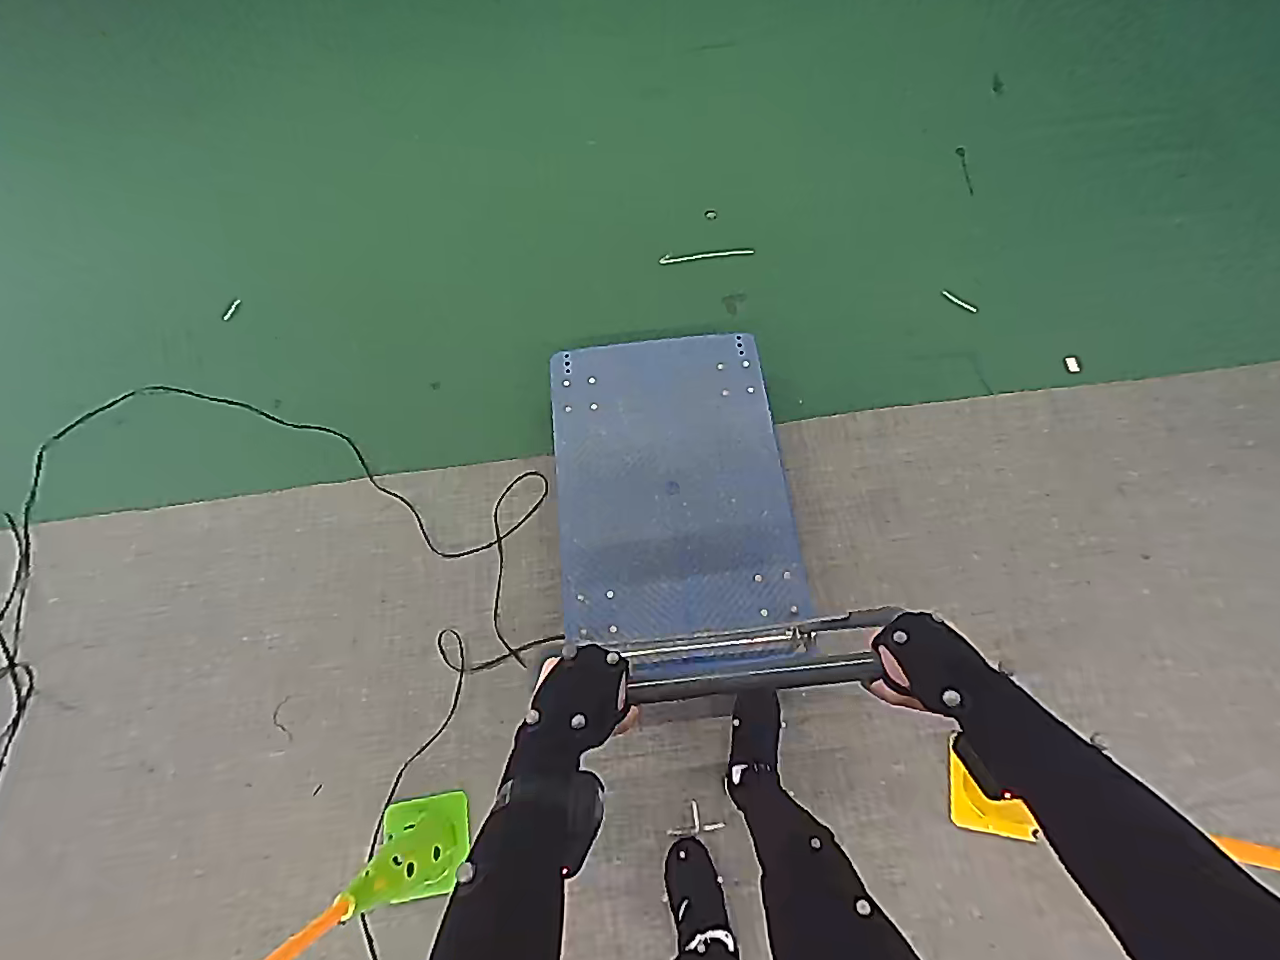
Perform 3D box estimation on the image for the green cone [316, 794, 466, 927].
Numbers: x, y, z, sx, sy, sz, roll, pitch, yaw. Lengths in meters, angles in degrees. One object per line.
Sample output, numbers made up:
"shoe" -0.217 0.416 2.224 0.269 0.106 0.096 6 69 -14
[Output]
"green cone" -0.514 0.788 1.083 0.202 0.368 0.200 -11 70 0
